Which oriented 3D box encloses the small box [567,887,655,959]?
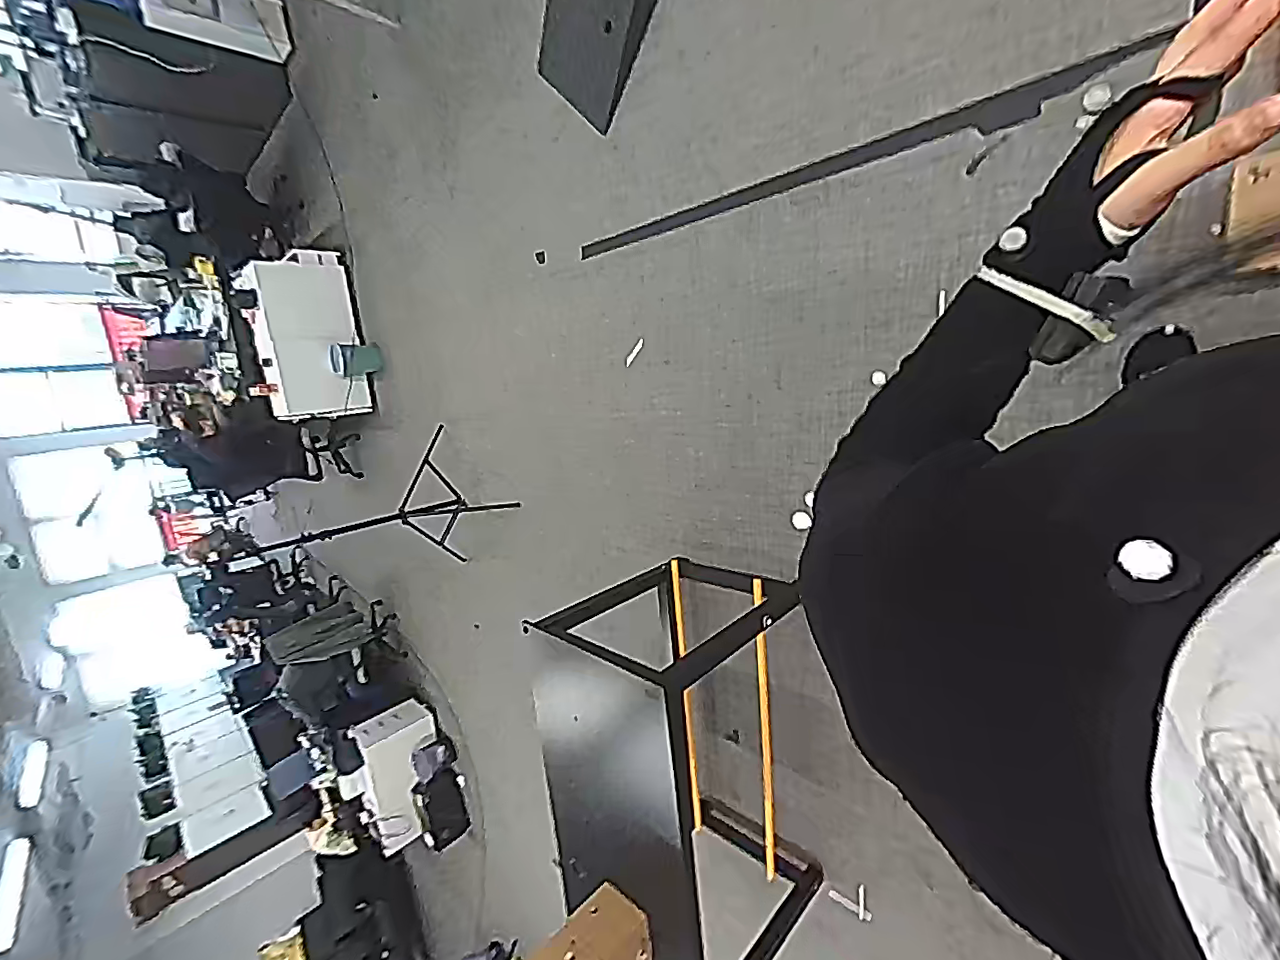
[{"bbox_3d":[-0.082,1.315,1.537,0.179,0.176,0.168,3,105,45],"label":"small box"}]

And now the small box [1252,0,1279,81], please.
[{"bbox_3d":[0.401,-0.306,0.236,0.168,0.176,0.179,-5,115,44],"label":"small box"}]

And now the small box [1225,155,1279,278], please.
[{"bbox_3d":[1.076,-0.431,0.872,0.168,0.176,0.179,6,107,45],"label":"small box"}]

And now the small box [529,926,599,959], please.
[{"bbox_3d":[-0.194,1.352,1.422,0.168,0.176,0.179,2,103,46],"label":"small box"}]
